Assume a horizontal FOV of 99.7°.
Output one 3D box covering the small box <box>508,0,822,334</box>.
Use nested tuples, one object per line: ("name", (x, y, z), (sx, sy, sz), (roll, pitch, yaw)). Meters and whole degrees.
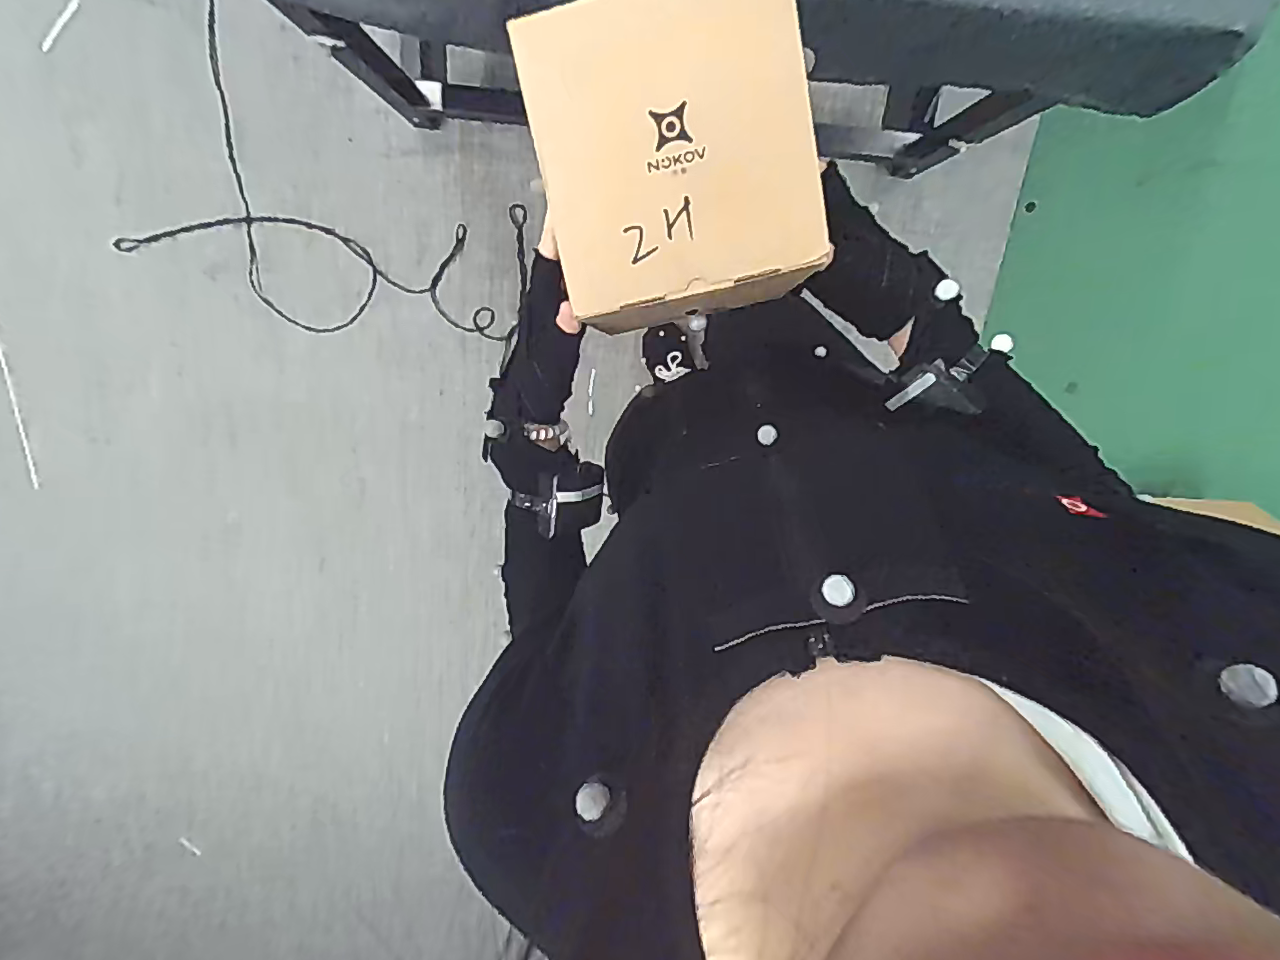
("small box", (0.022, -0.216, 0.403), (0.168, 0.176, 0.179), (-11, 101, 7))
